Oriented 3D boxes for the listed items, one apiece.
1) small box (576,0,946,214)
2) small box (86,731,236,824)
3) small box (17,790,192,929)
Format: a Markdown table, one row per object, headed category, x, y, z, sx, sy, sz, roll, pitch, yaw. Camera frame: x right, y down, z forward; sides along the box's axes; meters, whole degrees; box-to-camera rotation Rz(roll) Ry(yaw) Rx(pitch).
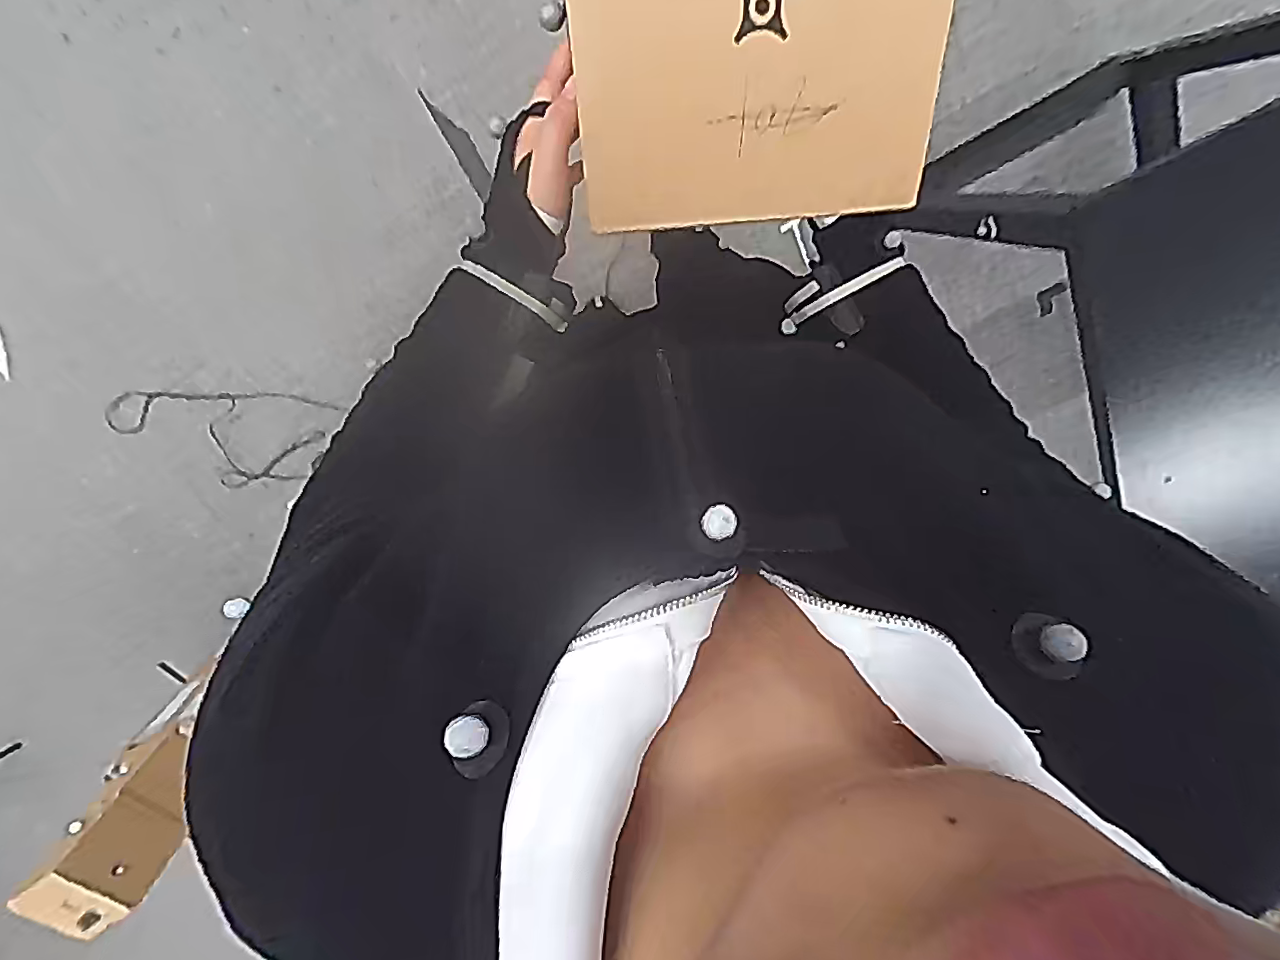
| category | x | y | z | sx | sy | sz | roll | pitch | yaw |
| --- | --- | --- | --- | --- | --- | --- | --- | --- | --- |
| small box | 0.048 | -0.258 | 0.299 | 0.168 | 0.176 | 0.179 | -5 | 124 | 0 |
| small box | -1.162 | 0.750 | 1.326 | 0.168 | 0.176 | 0.179 | -35 | 112 | 12 |
| small box | -1.146 | 0.819 | 1.176 | 0.168 | 0.176 | 0.179 | -35 | 113 | 11 |
